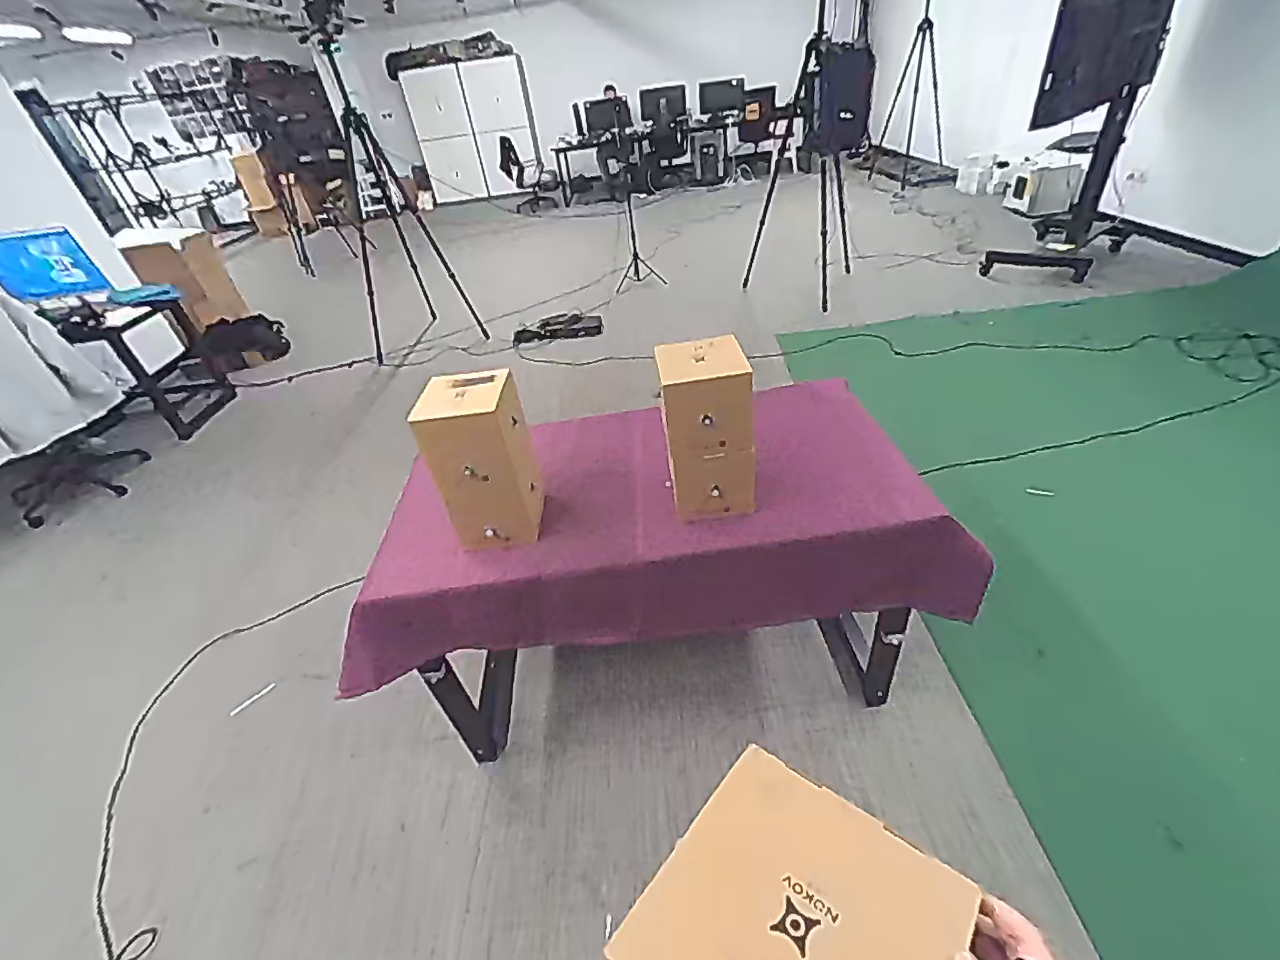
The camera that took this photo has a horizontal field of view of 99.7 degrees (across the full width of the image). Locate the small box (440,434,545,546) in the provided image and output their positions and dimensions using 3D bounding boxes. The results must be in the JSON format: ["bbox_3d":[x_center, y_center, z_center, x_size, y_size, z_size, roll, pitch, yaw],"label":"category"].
[{"bbox_3d":[-0.311,0.021,1.185,0.168,0.176,0.179,-7,38,3],"label":"small box"}]

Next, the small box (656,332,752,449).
[{"bbox_3d":[0.126,-0.172,1.073,0.168,0.176,0.179,-8,37,1],"label":"small box"}]

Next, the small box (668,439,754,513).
[{"bbox_3d":[0.151,-0.042,1.173,0.168,0.176,0.179,-7,38,2],"label":"small box"}]
